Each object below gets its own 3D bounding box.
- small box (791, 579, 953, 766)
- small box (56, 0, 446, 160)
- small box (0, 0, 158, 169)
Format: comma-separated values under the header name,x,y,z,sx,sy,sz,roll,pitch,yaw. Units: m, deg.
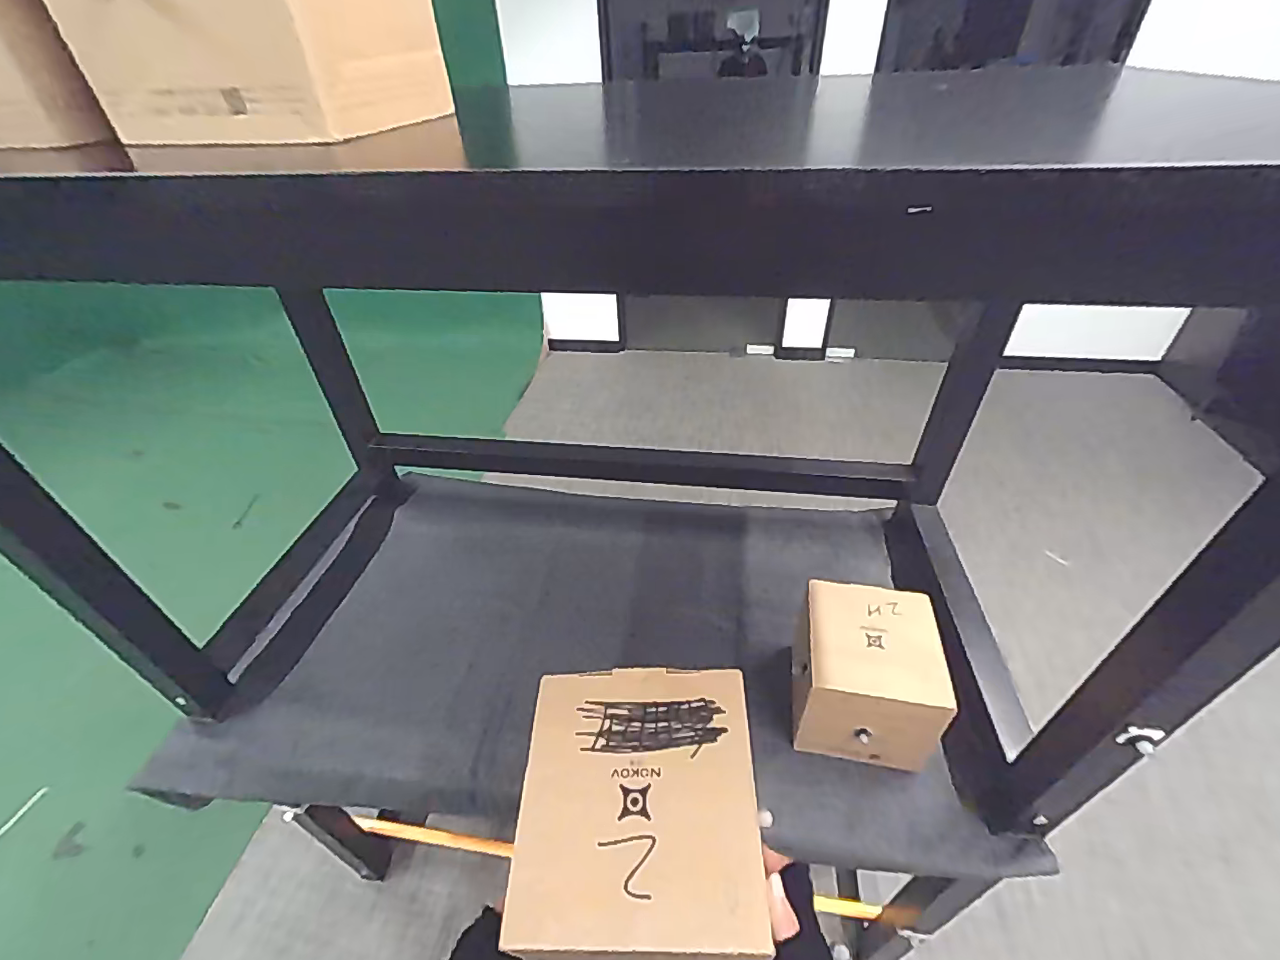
name,x,y,z,sx,sy,sz,roll,pitch,yaw
small box,0.309,0.269,0.759,0.168,0.176,0.179,7,40,10
small box,-0.260,-0.330,0.376,0.168,0.176,0.179,5,39,10
small box,-0.455,-0.343,0.399,0.168,0.176,0.179,5,41,9
